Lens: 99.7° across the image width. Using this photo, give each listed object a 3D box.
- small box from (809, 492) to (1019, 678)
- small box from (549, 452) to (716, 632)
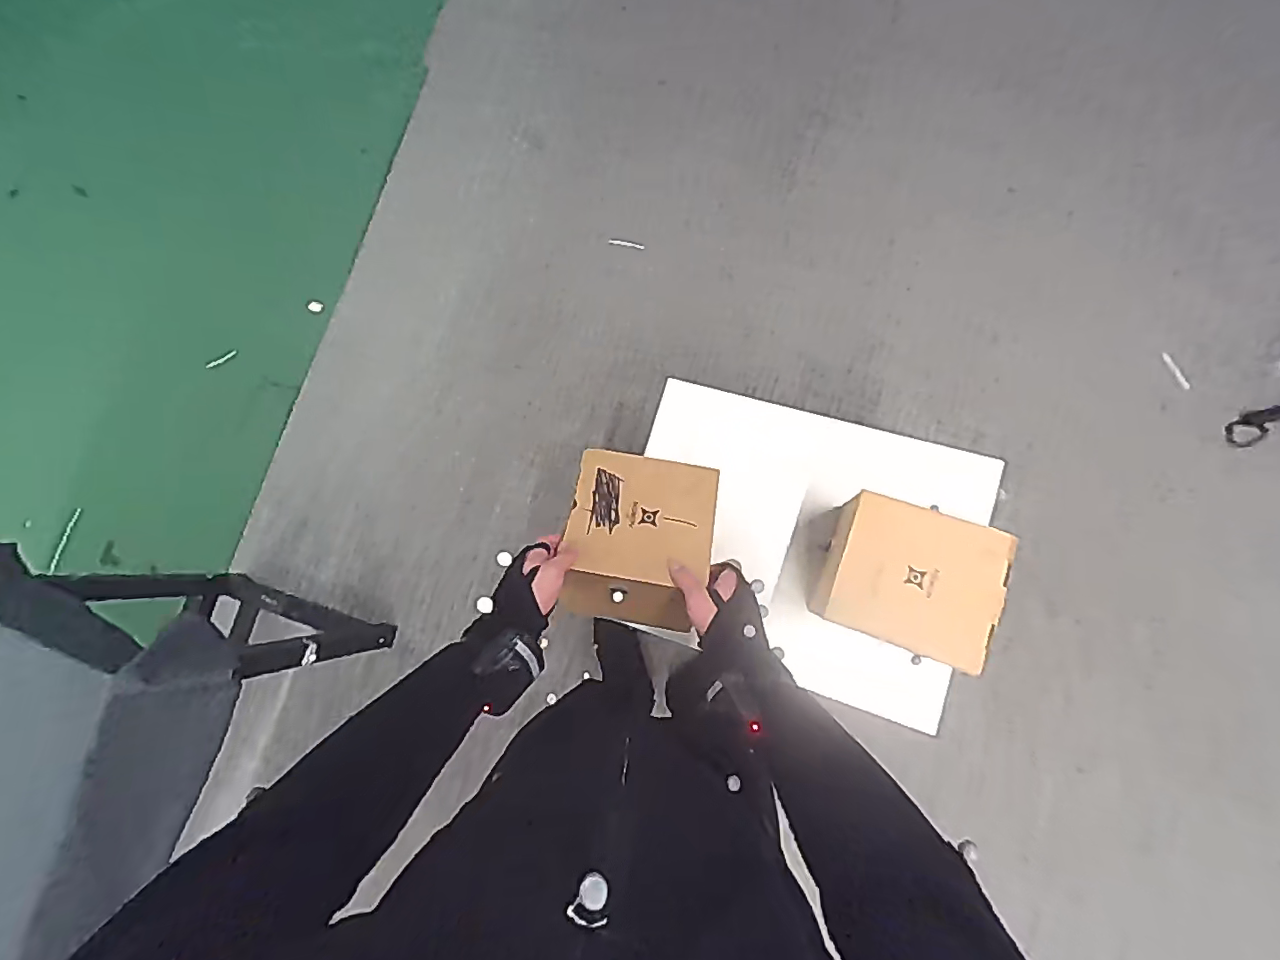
[{"bbox_3d":[0.331,0.127,0.690,0.179,0.176,0.168,18,84,14],"label":"small box"},{"bbox_3d":[-0.006,0.086,0.703,0.179,0.176,0.168,9,59,3],"label":"small box"}]
